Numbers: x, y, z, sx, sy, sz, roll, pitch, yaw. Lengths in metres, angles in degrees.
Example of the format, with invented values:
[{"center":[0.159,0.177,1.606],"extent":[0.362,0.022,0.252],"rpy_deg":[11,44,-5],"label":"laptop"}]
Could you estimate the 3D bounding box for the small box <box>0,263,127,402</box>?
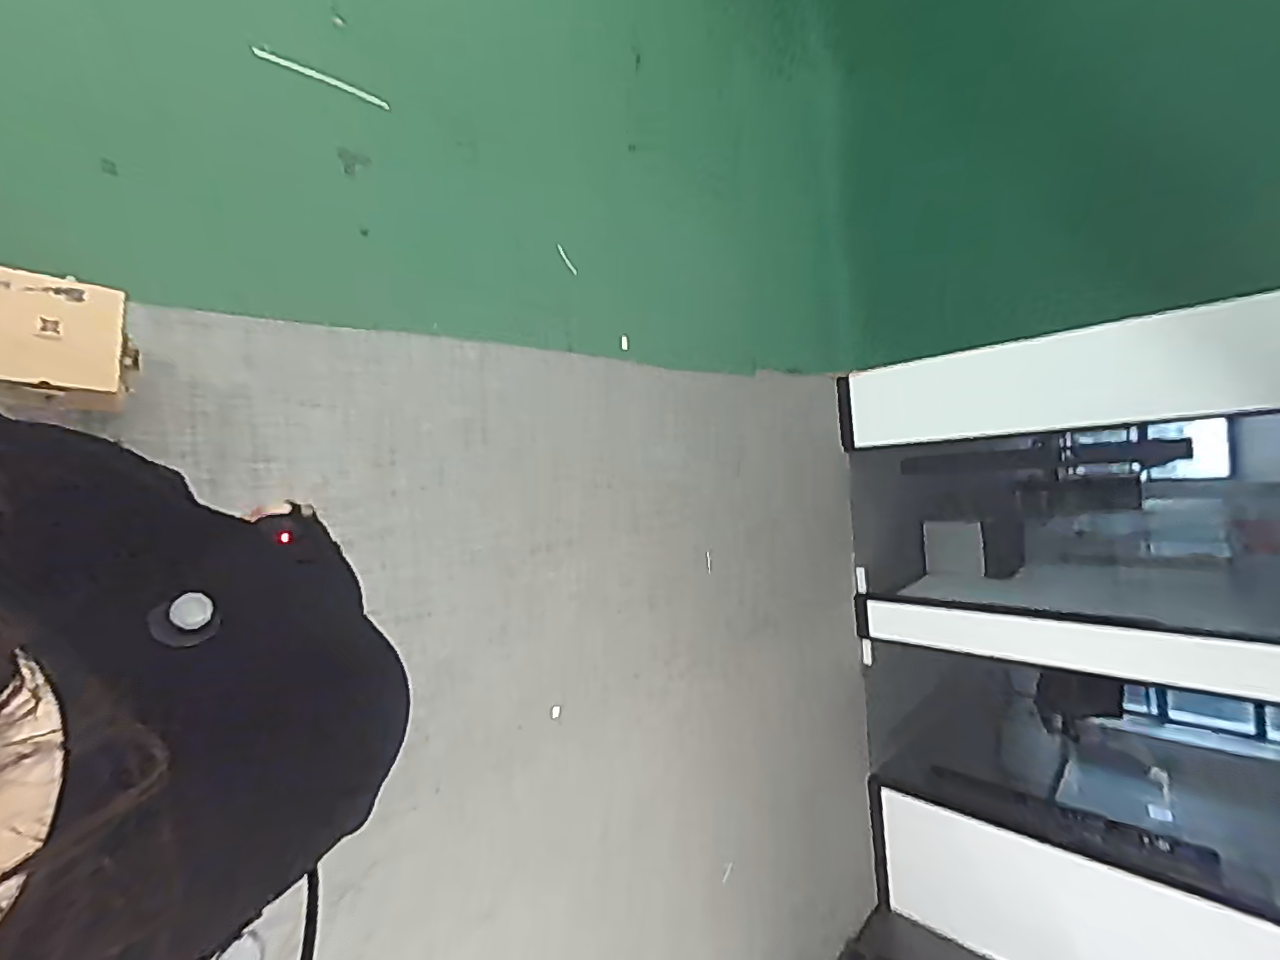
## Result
[{"center":[-0.962,-0.230,0.885],"extent":[0.168,0.176,0.179],"rpy_deg":[4,85,-43],"label":"small box"}]
